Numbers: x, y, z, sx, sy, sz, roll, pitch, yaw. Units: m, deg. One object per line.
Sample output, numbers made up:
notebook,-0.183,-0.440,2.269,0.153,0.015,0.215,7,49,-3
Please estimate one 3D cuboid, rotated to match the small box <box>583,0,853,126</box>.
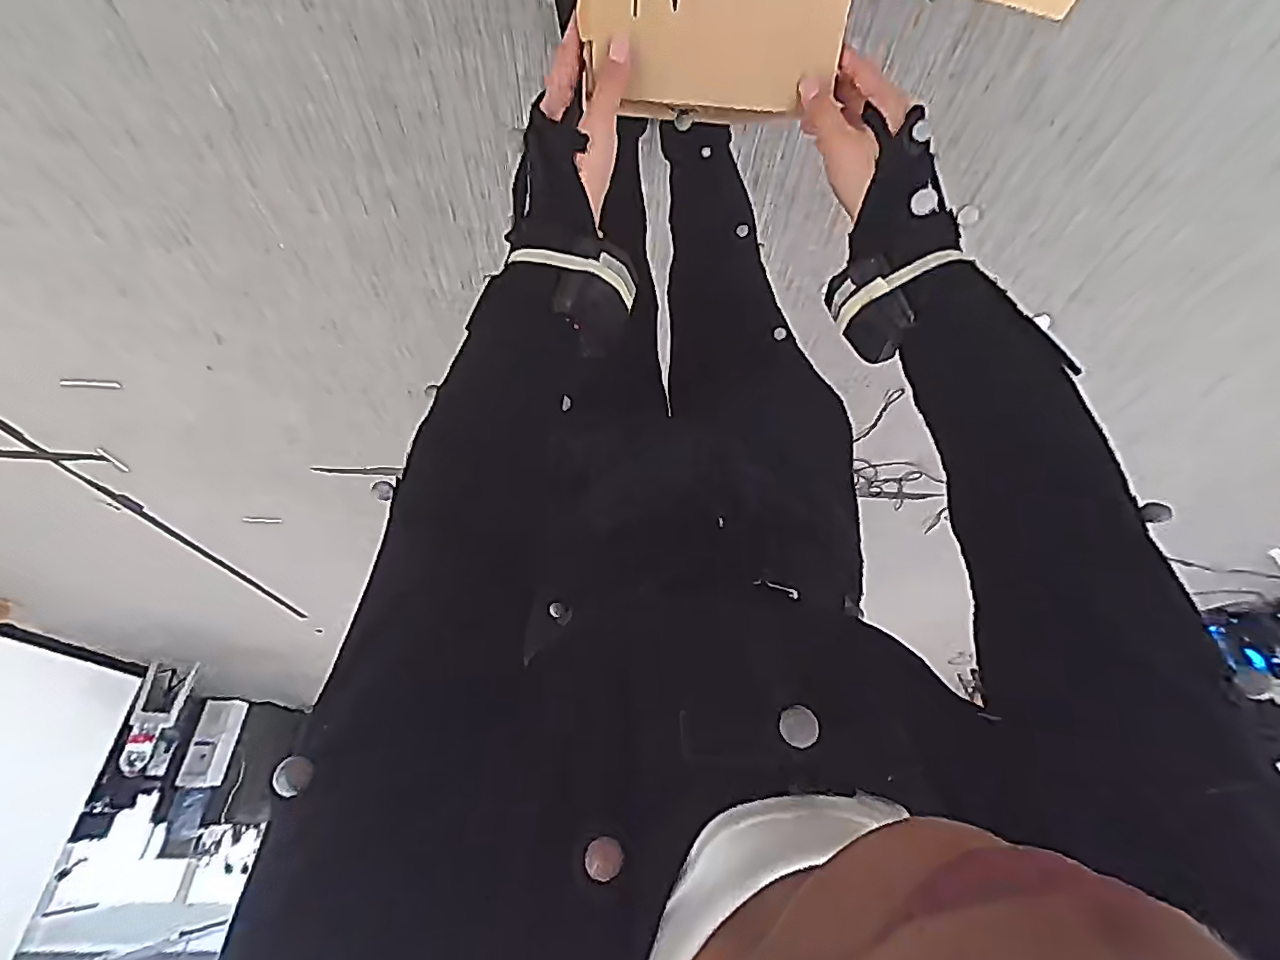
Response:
small box,0.047,-0.371,0.404,0.179,0.176,0.168,-1,121,-8
